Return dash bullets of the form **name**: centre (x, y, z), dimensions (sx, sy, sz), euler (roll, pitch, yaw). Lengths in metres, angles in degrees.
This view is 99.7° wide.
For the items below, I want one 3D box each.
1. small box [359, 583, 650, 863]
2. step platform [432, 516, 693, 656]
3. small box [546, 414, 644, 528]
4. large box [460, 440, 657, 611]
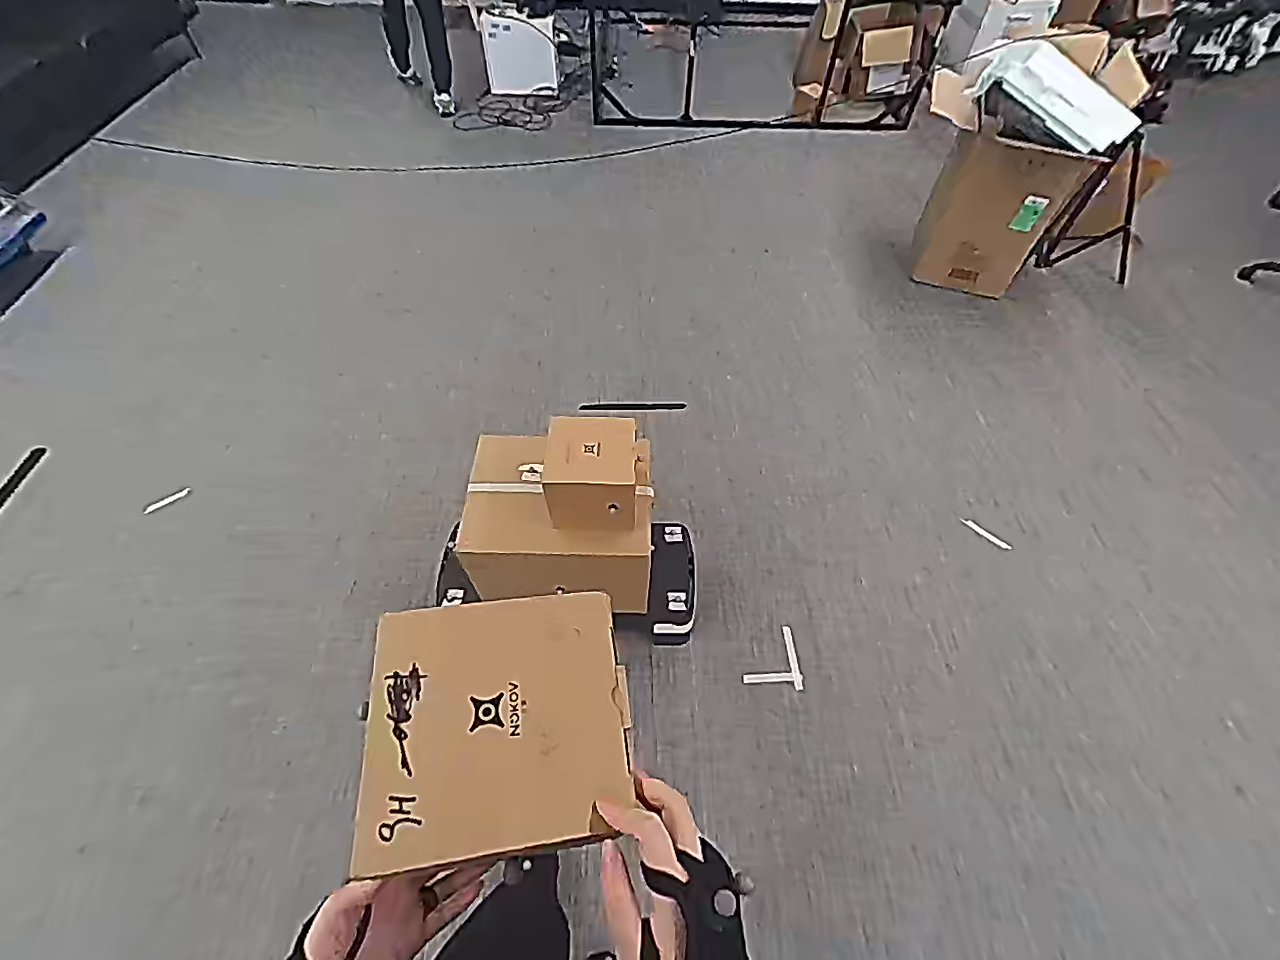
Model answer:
- **small box**: centre (-0.100, 0.197, 0.437), dimensions (0.179, 0.176, 0.168), euler (-2, 54, -11)
- **step platform**: centre (-0.198, 0.280, 1.476), dimensions (0.684, 0.204, 0.286), euler (5, 54, 3)
- **small box**: centre (-0.083, -0.014, 1.094), dimensions (0.179, 0.176, 0.168), euler (1, 55, 1)
- **large box**: centre (-0.165, 0.119, 1.299), dimensions (0.408, 0.320, 0.320), euler (0, 53, 0)
